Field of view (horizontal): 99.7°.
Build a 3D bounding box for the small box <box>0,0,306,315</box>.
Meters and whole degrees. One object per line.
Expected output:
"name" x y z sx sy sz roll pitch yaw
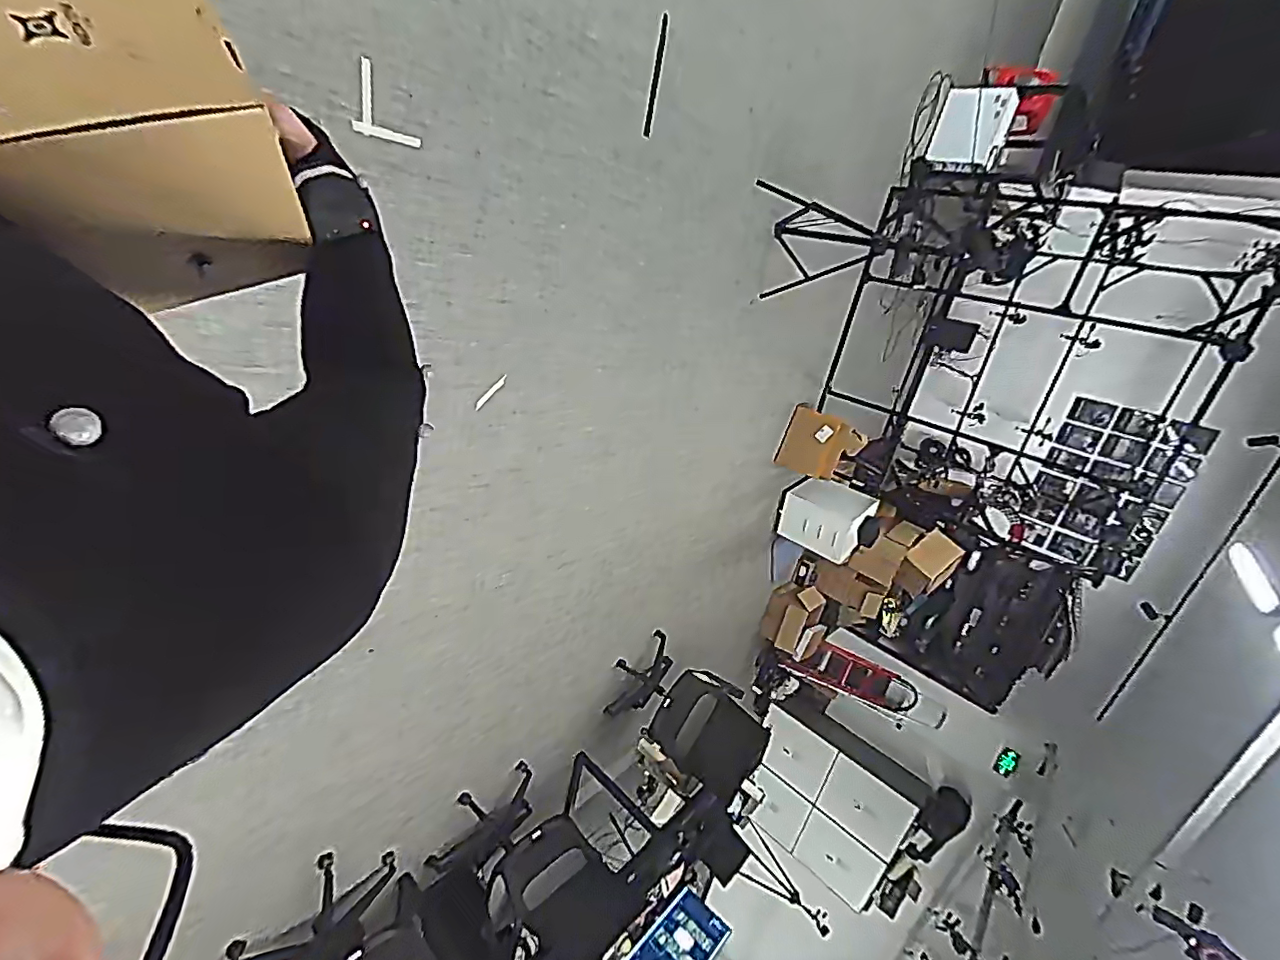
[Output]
"small box" -0.400 -0.266 0.434 0.179 0.168 0.176 -29 172 -25
